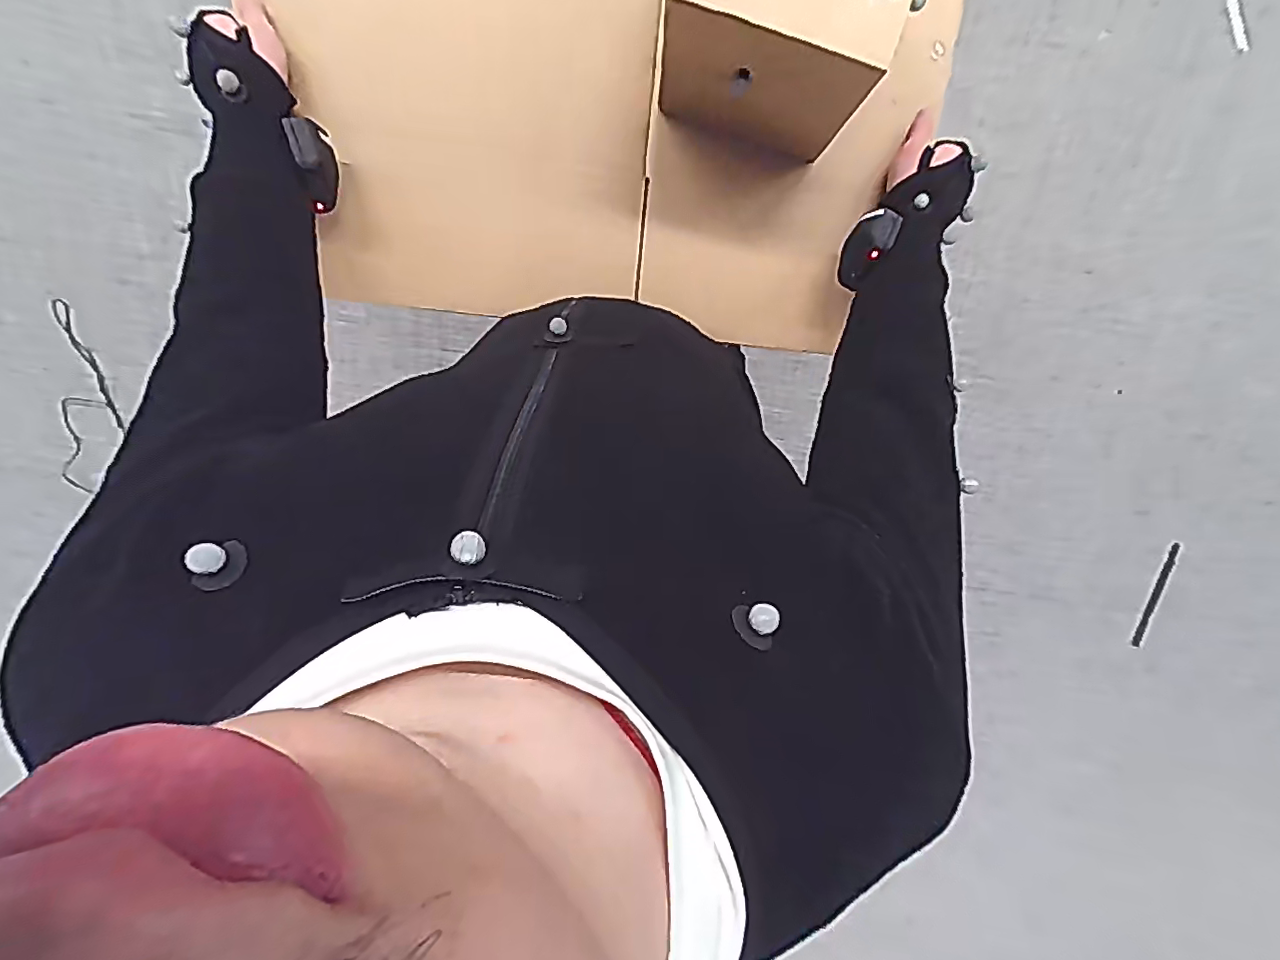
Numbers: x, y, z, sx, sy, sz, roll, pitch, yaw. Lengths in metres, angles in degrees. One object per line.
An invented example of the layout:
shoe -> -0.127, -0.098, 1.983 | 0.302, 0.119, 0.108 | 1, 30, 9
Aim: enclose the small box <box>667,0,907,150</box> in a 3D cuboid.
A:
small box -> 0.127, -0.425, 0.473 | 0.179, 0.176, 0.168 | 16, 100, -2
